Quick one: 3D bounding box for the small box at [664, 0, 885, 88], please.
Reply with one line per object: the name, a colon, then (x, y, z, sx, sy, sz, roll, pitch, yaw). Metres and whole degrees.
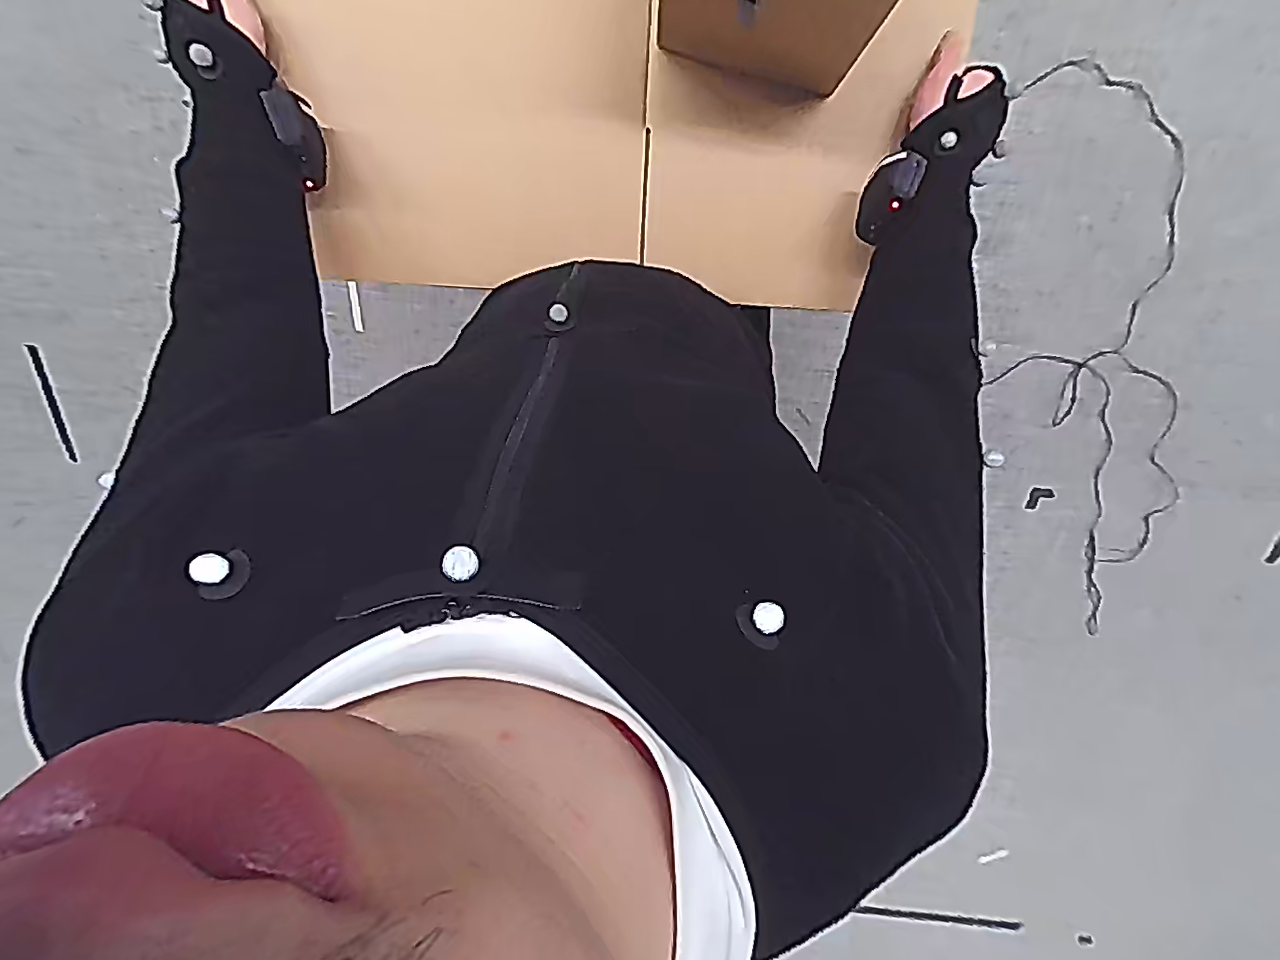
small box: (0.120, -0.450, 0.423, 0.179, 0.176, 0.168, 14, 103, -2)
